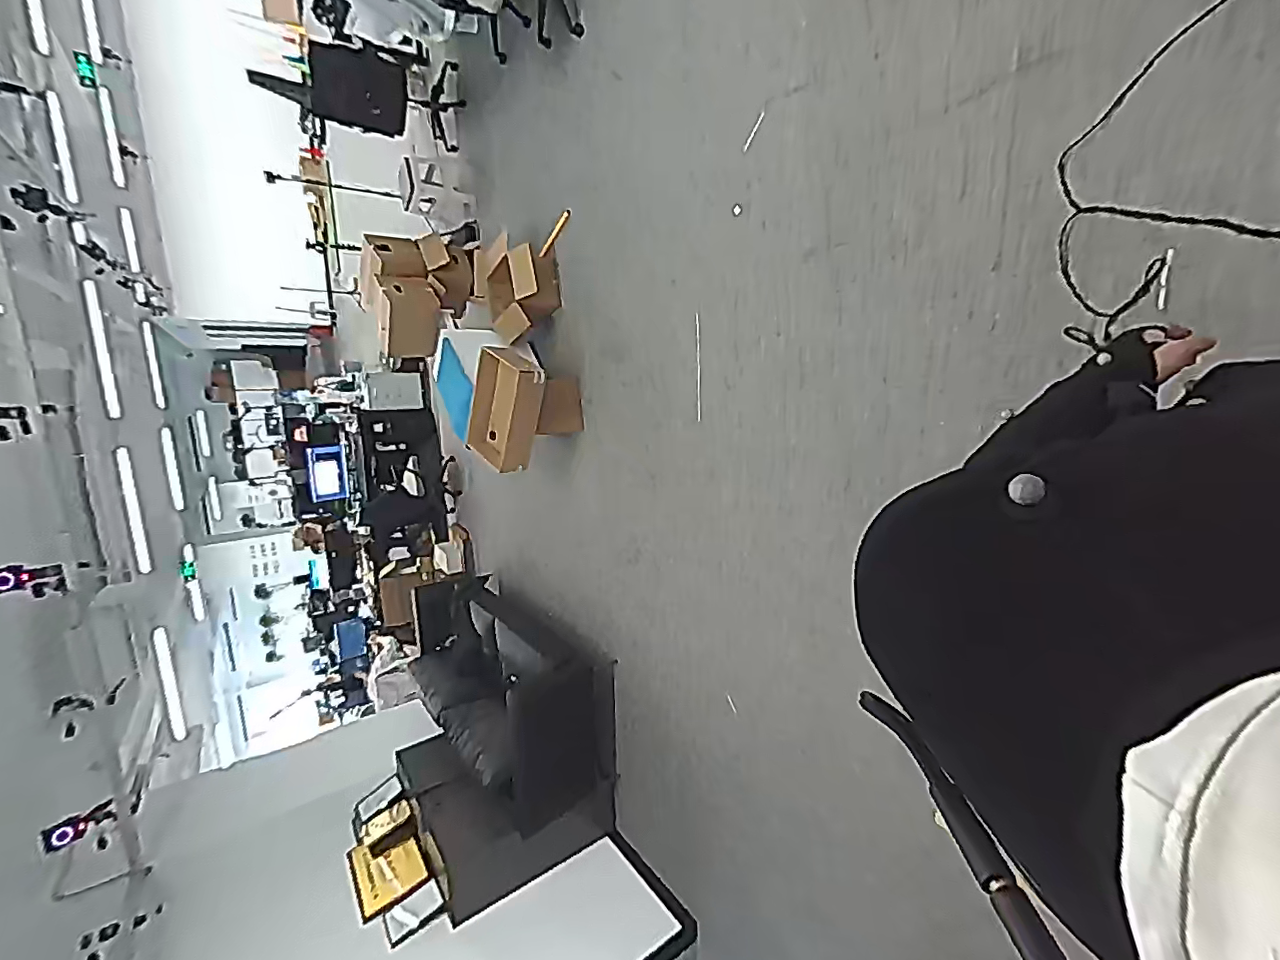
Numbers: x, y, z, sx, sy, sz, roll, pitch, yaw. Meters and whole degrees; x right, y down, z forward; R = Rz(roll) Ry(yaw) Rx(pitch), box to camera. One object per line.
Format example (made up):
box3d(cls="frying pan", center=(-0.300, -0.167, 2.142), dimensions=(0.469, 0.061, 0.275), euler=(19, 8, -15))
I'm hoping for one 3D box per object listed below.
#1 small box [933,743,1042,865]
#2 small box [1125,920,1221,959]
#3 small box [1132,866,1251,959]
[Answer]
box3d(cls="small box", center=(0.889, 0.816, 1.382), dimensions=(0.168, 0.176, 0.179), euler=(28, 121, 49))
box3d(cls="small box", center=(1.121, 1.076, 1.113), dimensions=(0.168, 0.176, 0.179), euler=(4, 101, 56))
box3d(cls="small box", center=(1.243, 1.037, 1.219), dimensions=(0.168, 0.176, 0.179), euler=(2, 100, 55))
